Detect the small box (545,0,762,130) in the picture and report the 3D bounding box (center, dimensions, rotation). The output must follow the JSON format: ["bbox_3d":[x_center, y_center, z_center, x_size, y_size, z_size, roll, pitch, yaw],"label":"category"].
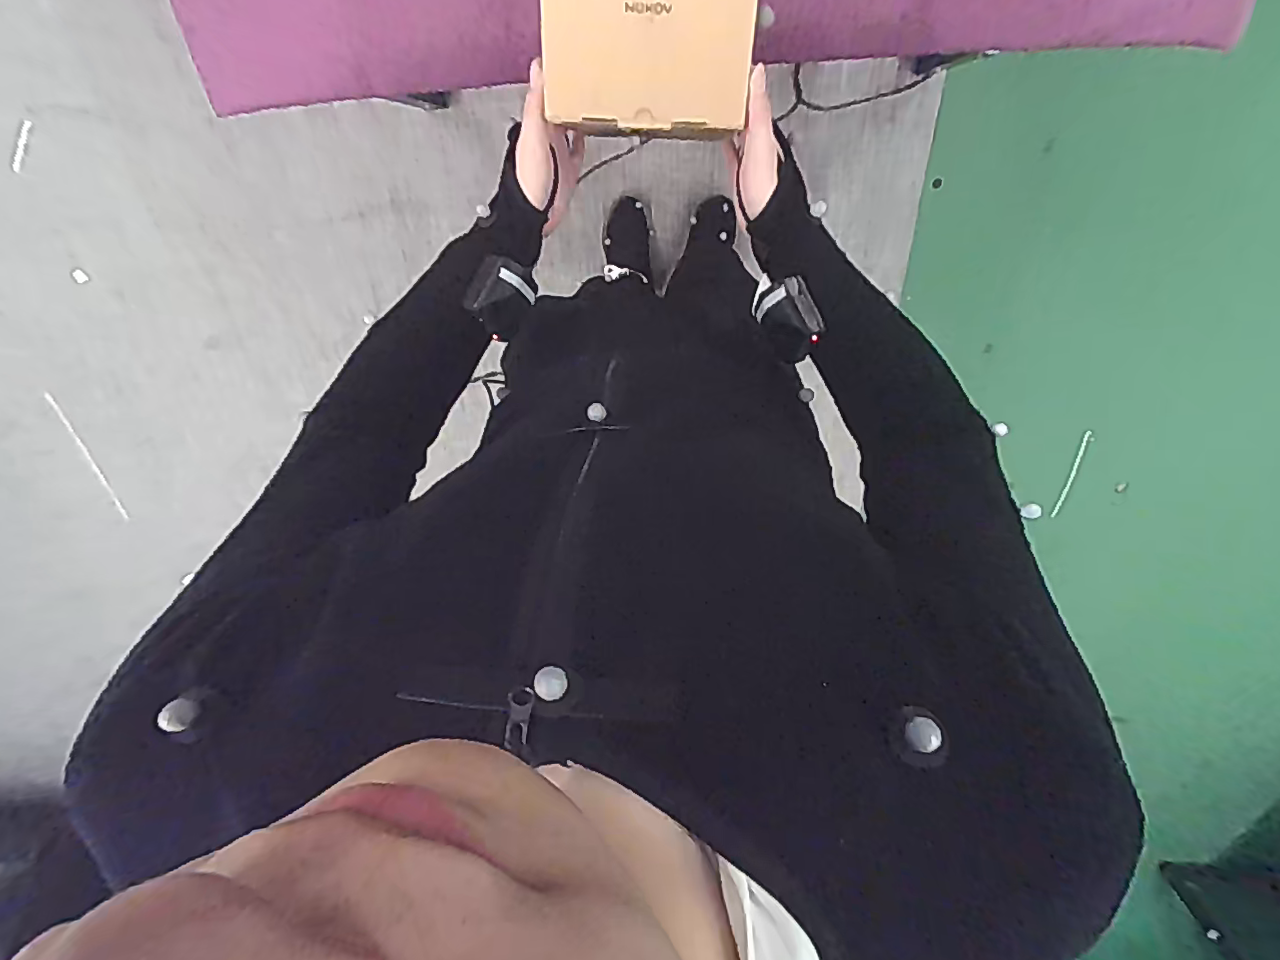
[{"bbox_3d":[0.013,-0.414,0.467,0.168,0.176,0.179,3,121,1],"label":"small box"}]
